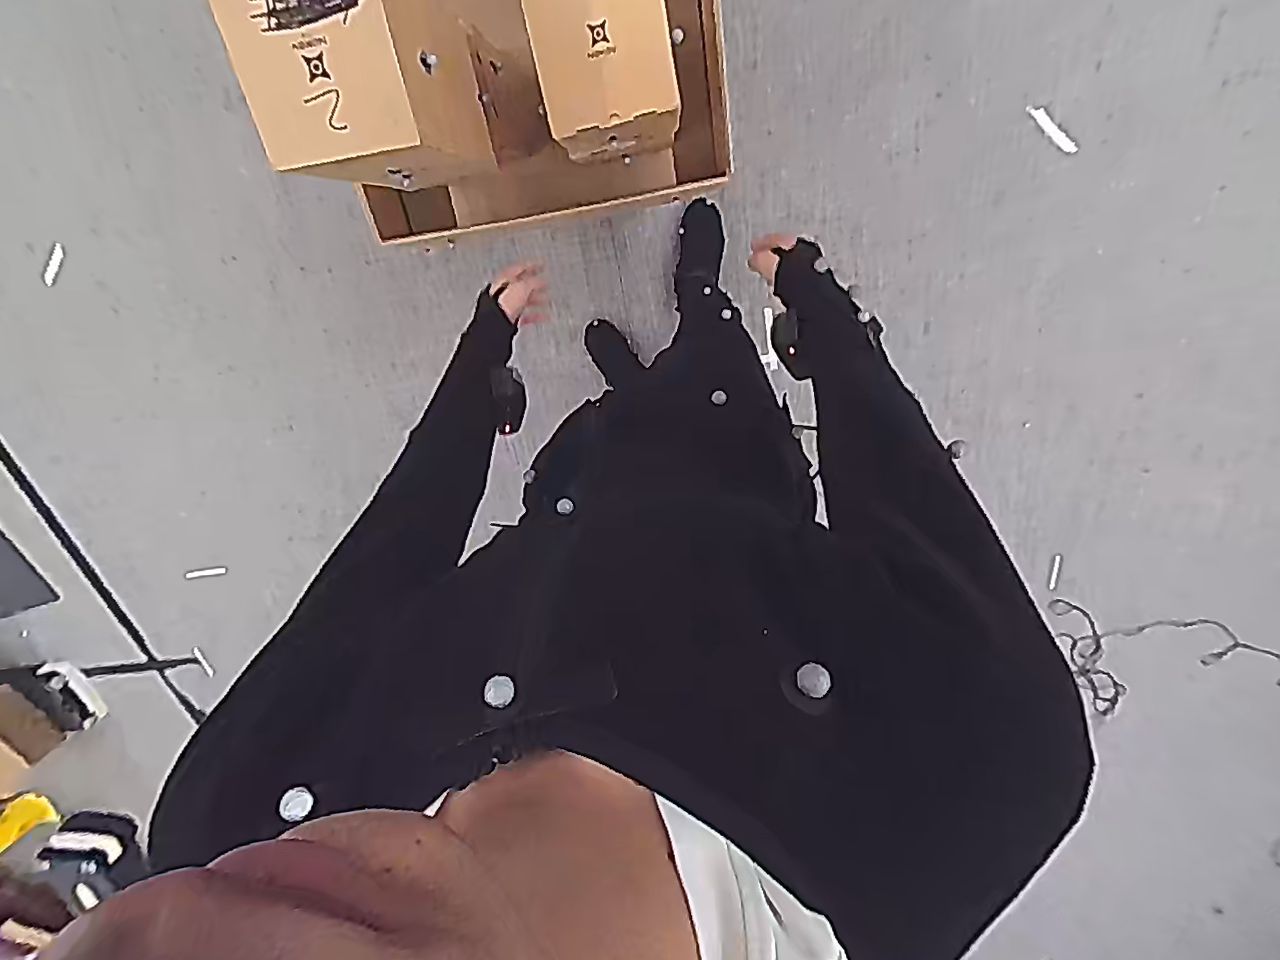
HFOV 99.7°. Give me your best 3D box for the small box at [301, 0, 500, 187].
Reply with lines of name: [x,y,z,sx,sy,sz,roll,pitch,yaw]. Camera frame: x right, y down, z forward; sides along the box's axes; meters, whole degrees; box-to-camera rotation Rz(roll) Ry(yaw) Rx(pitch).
small box: [-0.309,-0.519,0.741,0.168,0.176,0.179,-7,114,7]

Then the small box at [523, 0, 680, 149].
small box: [-0.045,-0.561,0.710,0.168,0.176,0.179,-10,115,7]
